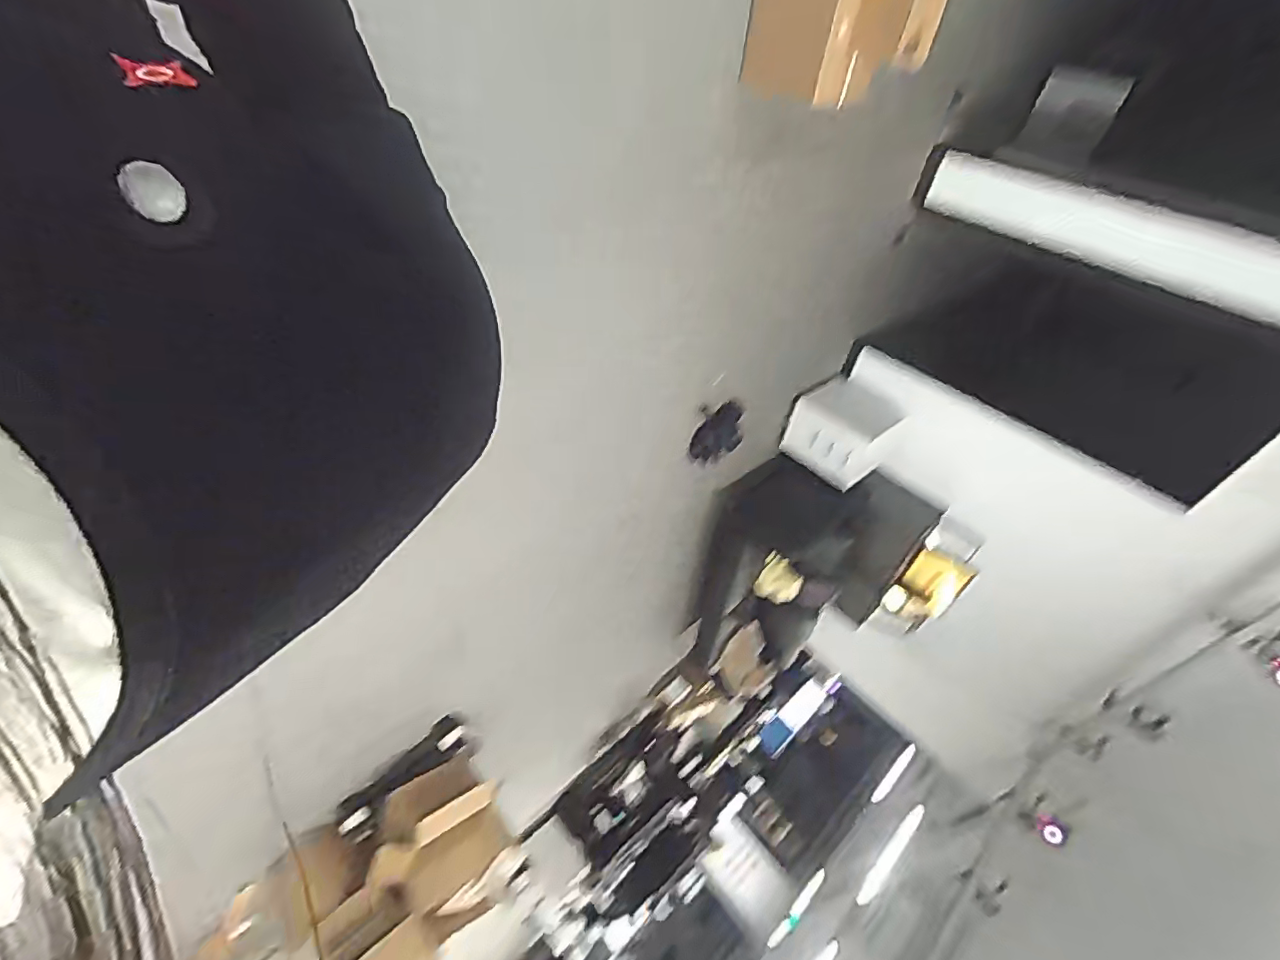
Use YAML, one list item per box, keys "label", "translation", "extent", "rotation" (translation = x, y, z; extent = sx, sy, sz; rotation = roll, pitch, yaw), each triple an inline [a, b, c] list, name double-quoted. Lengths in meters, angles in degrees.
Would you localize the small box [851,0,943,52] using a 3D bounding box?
- label: "small box"
  translation: [0.736, -1.352, 1.545]
  extent: [0.168, 0.176, 0.179]
  rotation: [-25, 143, -26]
